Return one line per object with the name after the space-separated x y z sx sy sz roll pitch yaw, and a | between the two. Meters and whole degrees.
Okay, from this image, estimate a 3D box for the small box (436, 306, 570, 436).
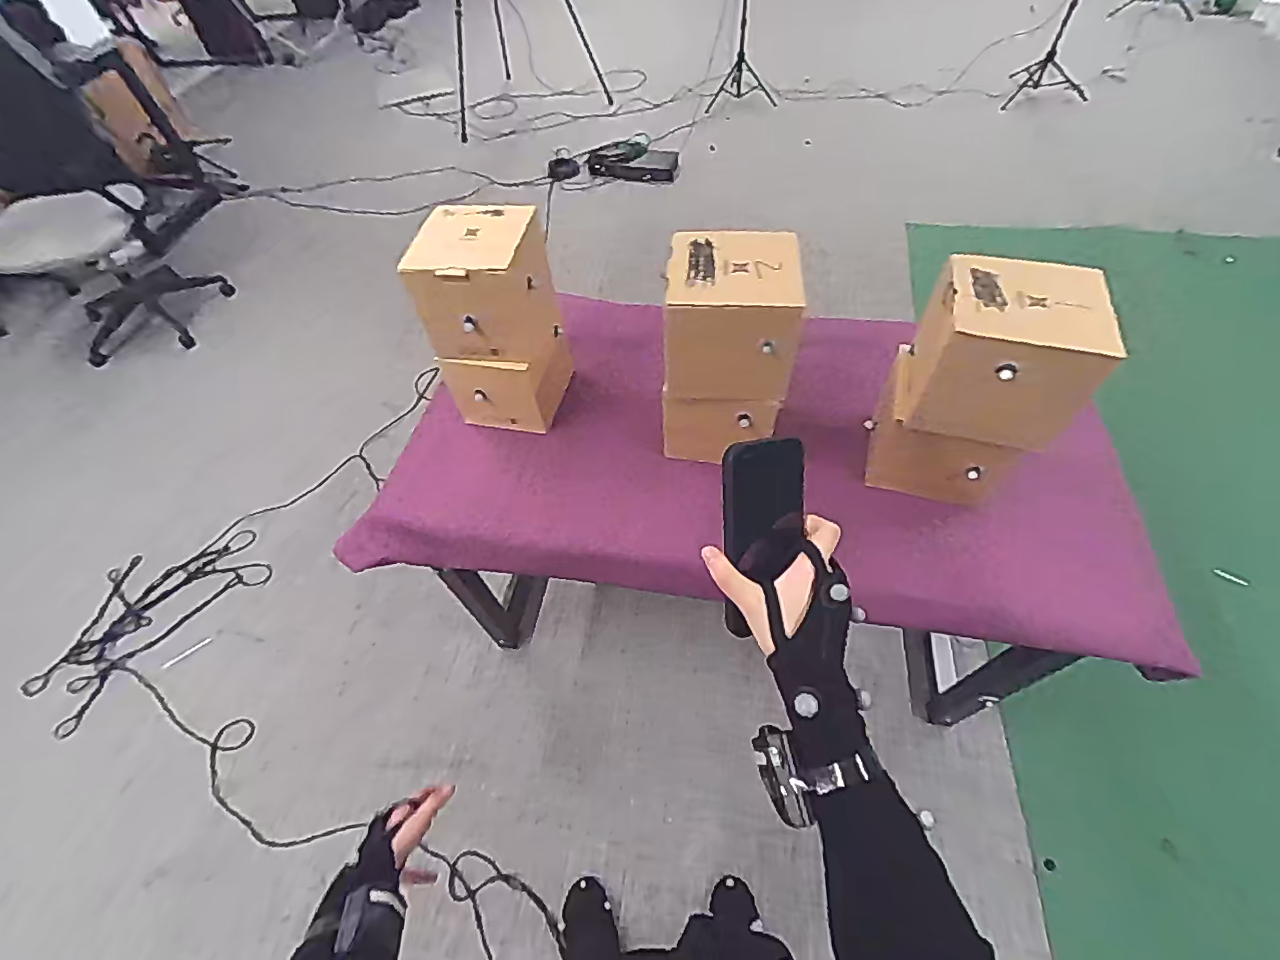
-0.237 -0.202 0.993 0.168 0.176 0.179 8 55 11 | small box

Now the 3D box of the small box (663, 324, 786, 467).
0.140 -0.138 0.911 0.179 0.176 0.168 7 55 10 | small box

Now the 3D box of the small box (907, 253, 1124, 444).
0.464 -0.167 0.702 0.179 0.176 0.168 12 56 13 | small box

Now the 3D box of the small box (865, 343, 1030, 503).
0.470 -0.084 0.844 0.179 0.176 0.168 12 56 14 | small box

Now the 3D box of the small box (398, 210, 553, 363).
-0.247 -0.305 0.865 0.168 0.176 0.179 4 55 7 | small box
